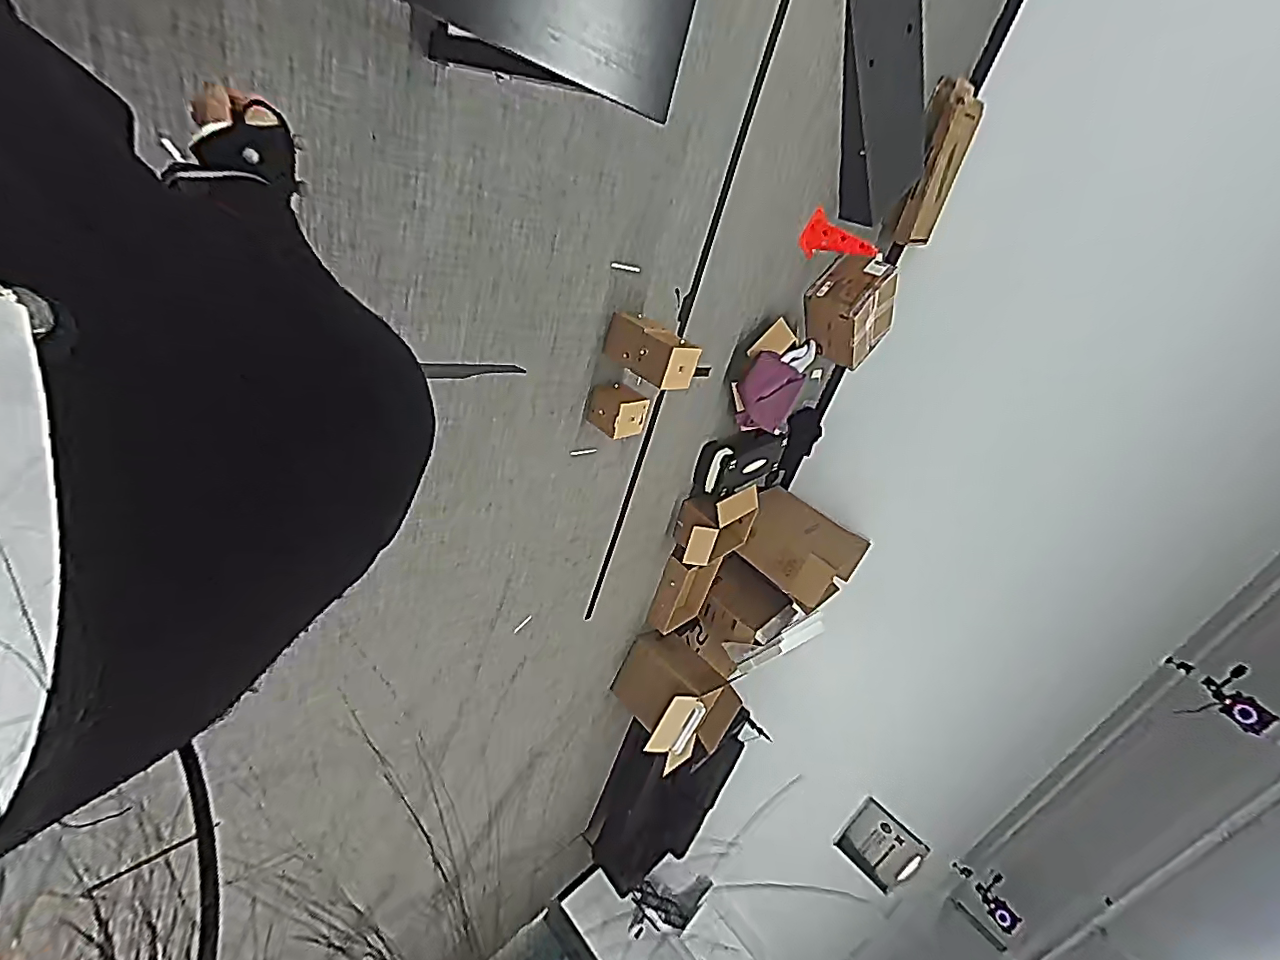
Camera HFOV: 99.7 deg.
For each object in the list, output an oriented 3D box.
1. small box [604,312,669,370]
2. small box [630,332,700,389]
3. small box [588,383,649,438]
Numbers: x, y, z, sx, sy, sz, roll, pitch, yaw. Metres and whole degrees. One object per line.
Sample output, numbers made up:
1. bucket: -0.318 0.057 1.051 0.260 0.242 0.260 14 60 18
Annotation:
1. small box: -0.019 -0.548 2.147 0.168 0.176 0.179 -12 129 -48
2. small box: 0.093 -0.461 2.069 0.179 0.176 0.168 -12 129 -46
3. small box: -0.096 -0.299 2.291 0.179 0.176 0.168 -16 132 -44
